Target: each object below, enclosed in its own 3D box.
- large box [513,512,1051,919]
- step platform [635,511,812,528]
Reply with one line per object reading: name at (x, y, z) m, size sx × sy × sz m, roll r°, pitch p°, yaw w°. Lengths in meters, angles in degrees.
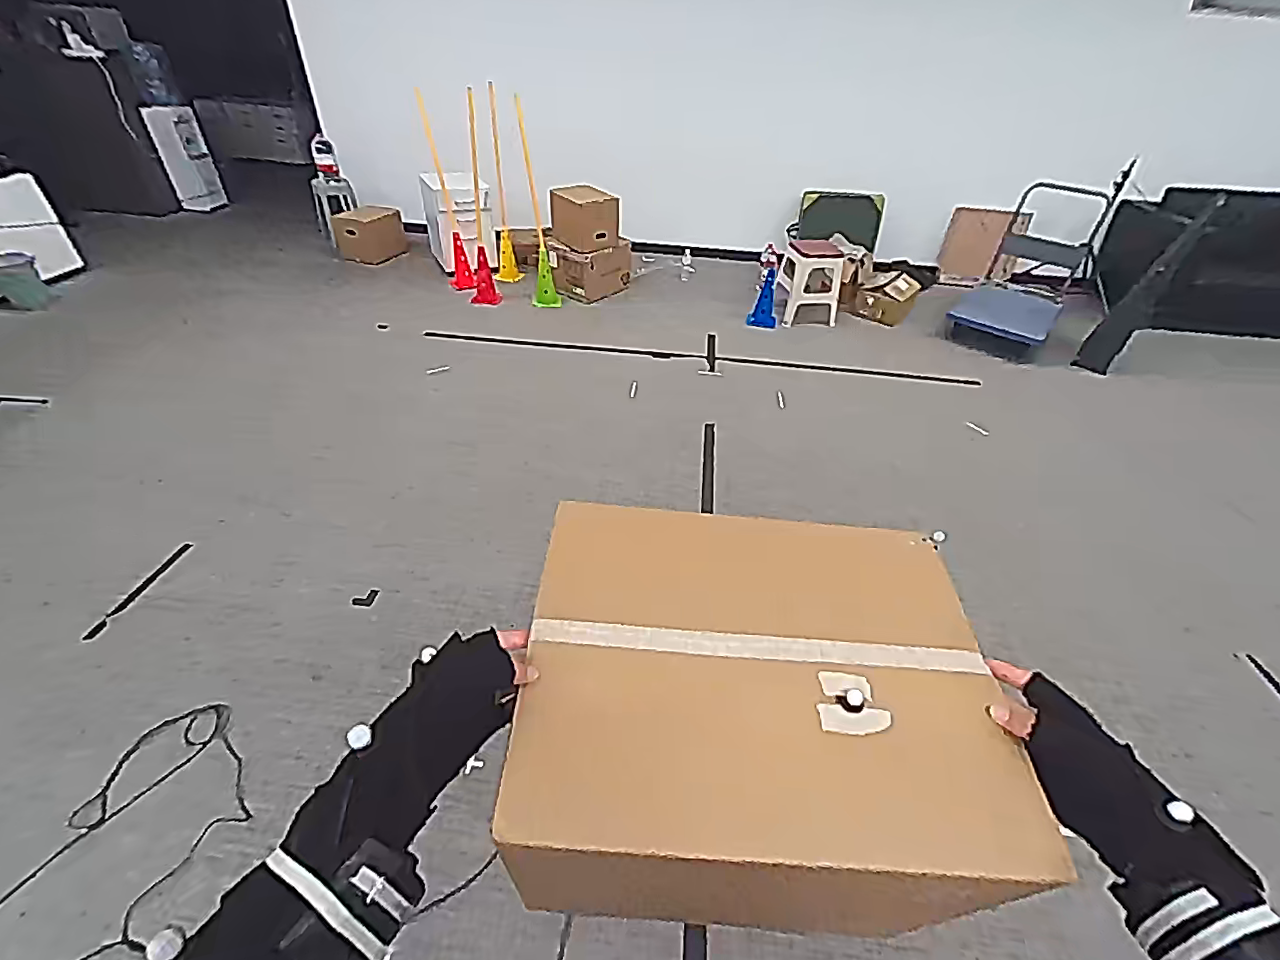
large box at (0.096, 0.260, 0.595) m, size 0.408 × 0.320 × 0.320 m, roll 5°, pitch 45°, yaw -2°
step platform at (0.283, 0.283, 1.886) m, size 0.684 × 0.204 × 0.286 m, roll 5°, pitch 40°, yaw 0°
